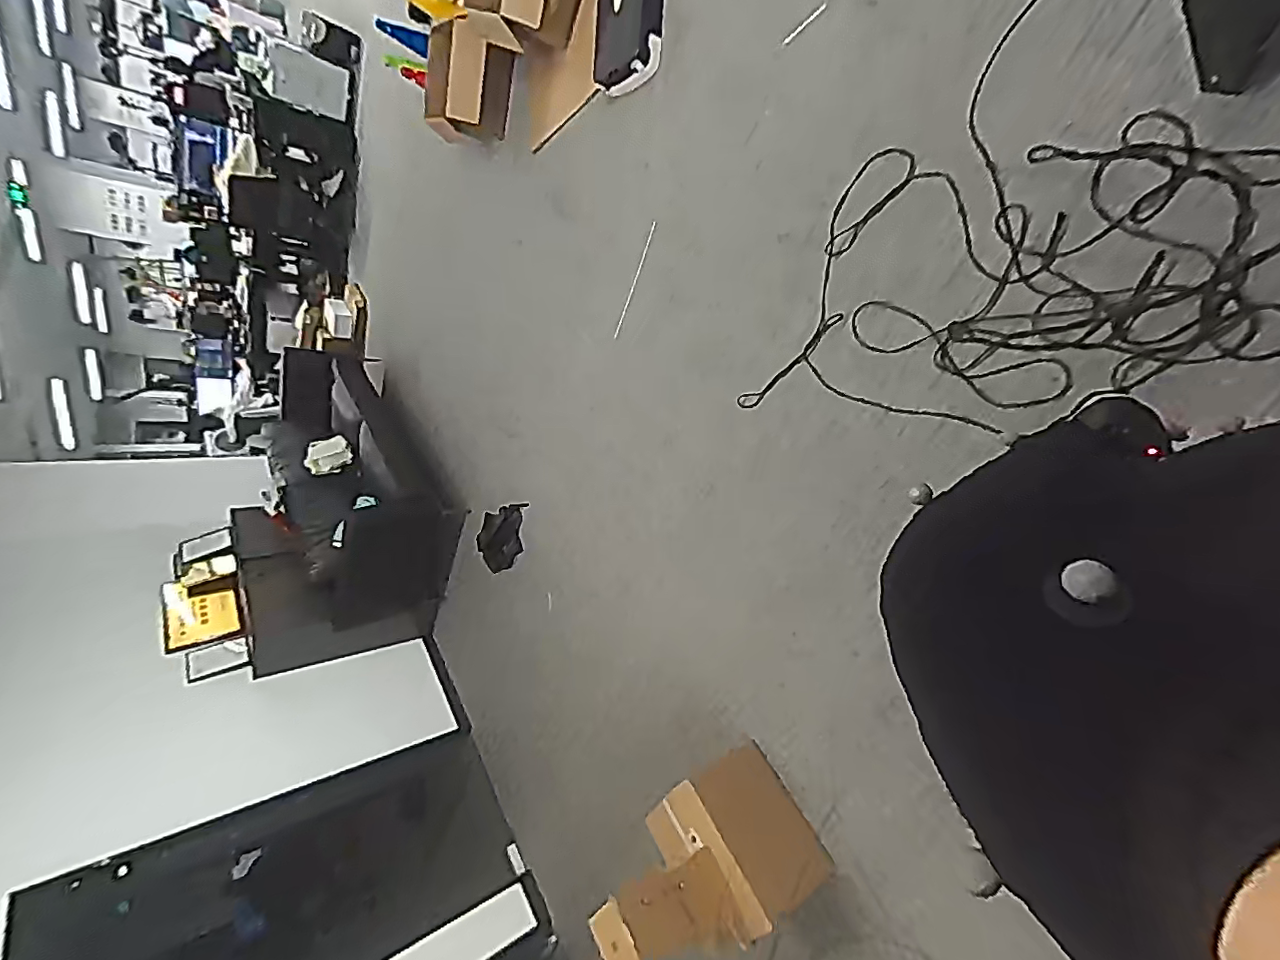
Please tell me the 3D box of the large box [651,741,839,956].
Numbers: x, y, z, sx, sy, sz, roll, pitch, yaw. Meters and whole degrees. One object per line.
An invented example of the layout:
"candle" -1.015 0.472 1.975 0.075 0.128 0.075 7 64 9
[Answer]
"large box" 0.308 1.100 1.650 0.408 0.320 0.320 54 130 34

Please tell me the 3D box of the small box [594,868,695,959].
"small box" 0.015 1.134 1.372 0.168 0.176 0.179 52 132 36

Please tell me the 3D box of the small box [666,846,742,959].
"small box" 0.144 1.144 1.471 0.179 0.176 0.168 59 133 29
